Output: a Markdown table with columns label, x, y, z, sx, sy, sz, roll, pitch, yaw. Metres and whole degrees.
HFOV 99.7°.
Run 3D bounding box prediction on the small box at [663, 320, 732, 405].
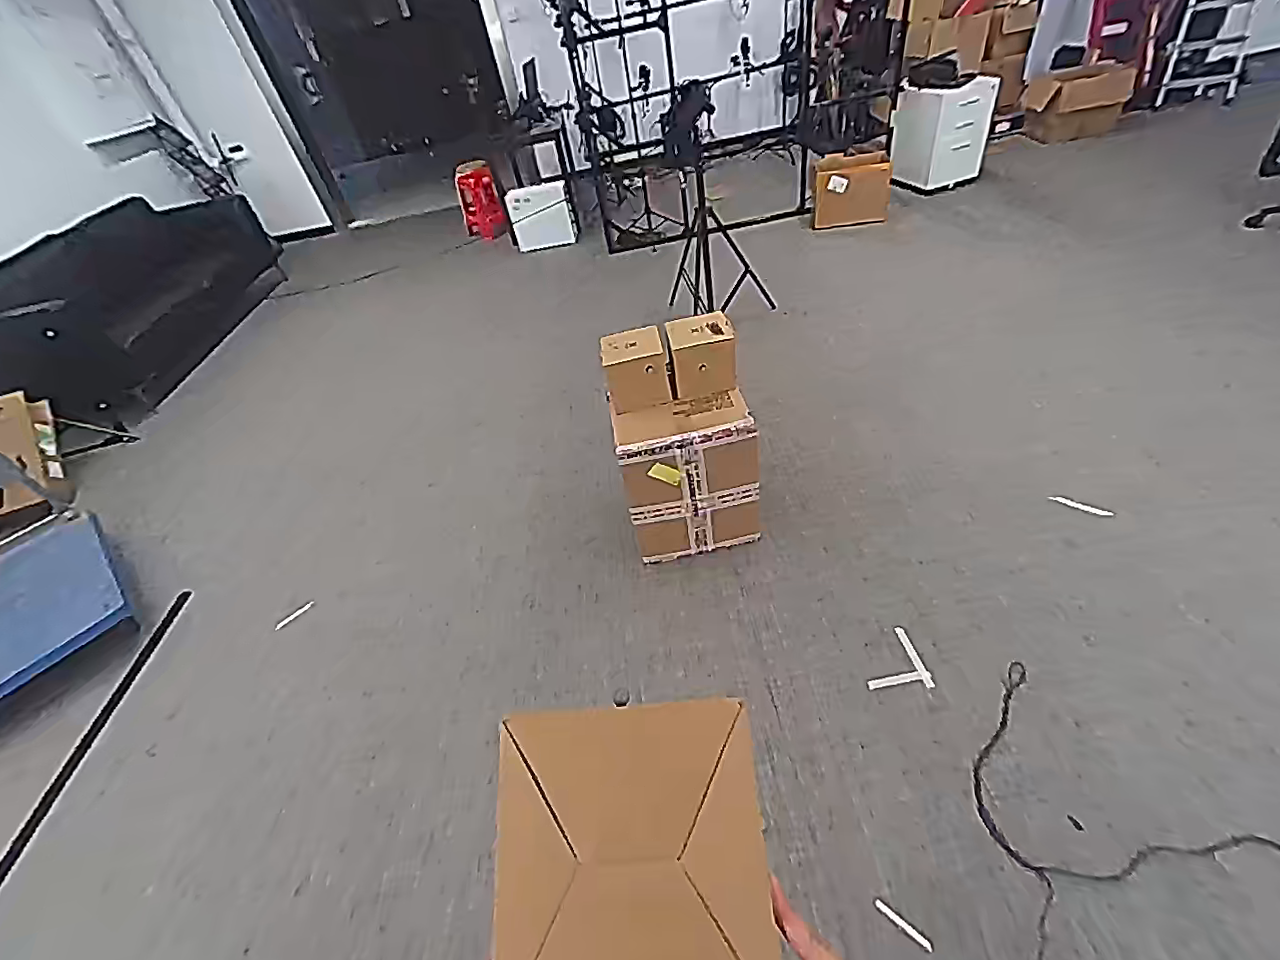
| label | x | y | z | sx | sy | sz | roll | pitch | yaw |
| --- | --- | --- | --- | --- | --- | --- | --- | --- | --- |
| small box | 0.172 | -0.347 | 1.600 | 0.179 | 0.176 | 0.168 | -11 | 43 | 1 |

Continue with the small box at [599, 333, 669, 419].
| label | x | y | z | sx | sy | sz | roll | pitch | yaw |
| --- | --- | --- | --- | --- | --- | --- | --- | --- | --- |
| small box | -0.014 | -0.305 | 1.602 | 0.179 | 0.176 | 0.168 | -13 | 42 | 4 |
